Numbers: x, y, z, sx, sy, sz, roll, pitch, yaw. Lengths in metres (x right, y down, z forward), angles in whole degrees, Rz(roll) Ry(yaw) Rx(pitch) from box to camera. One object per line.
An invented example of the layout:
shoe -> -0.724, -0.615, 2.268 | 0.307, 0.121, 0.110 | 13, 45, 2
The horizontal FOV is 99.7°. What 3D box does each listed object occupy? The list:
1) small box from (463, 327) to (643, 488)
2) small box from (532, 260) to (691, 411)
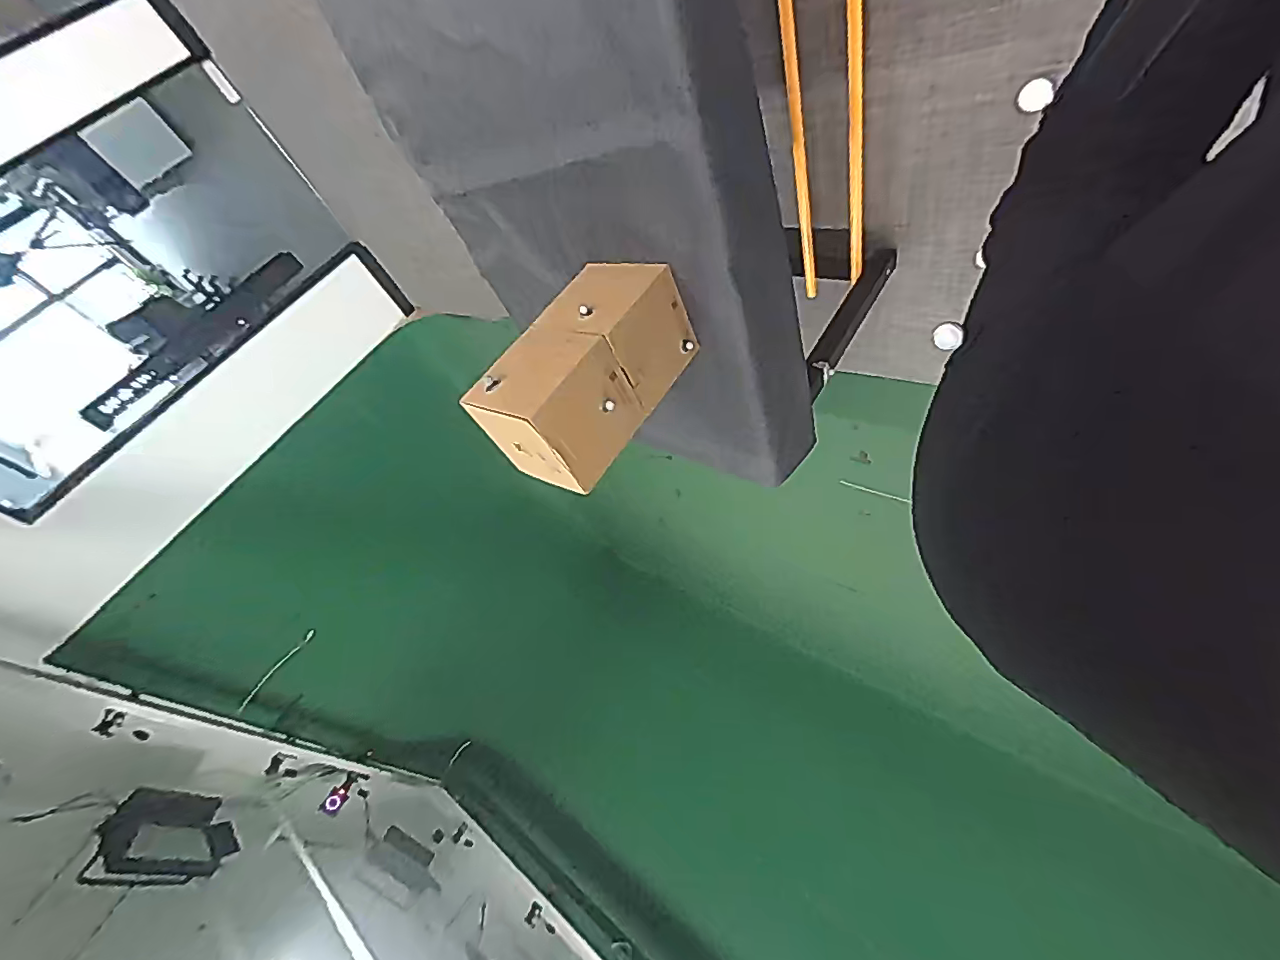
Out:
small box -> -0.127, -0.118, 0.833 | 0.179, 0.176, 0.168 | 17, 153, 40
small box -> -0.035, -0.242, 0.890 | 0.179, 0.176, 0.168 | 20, 154, 38
